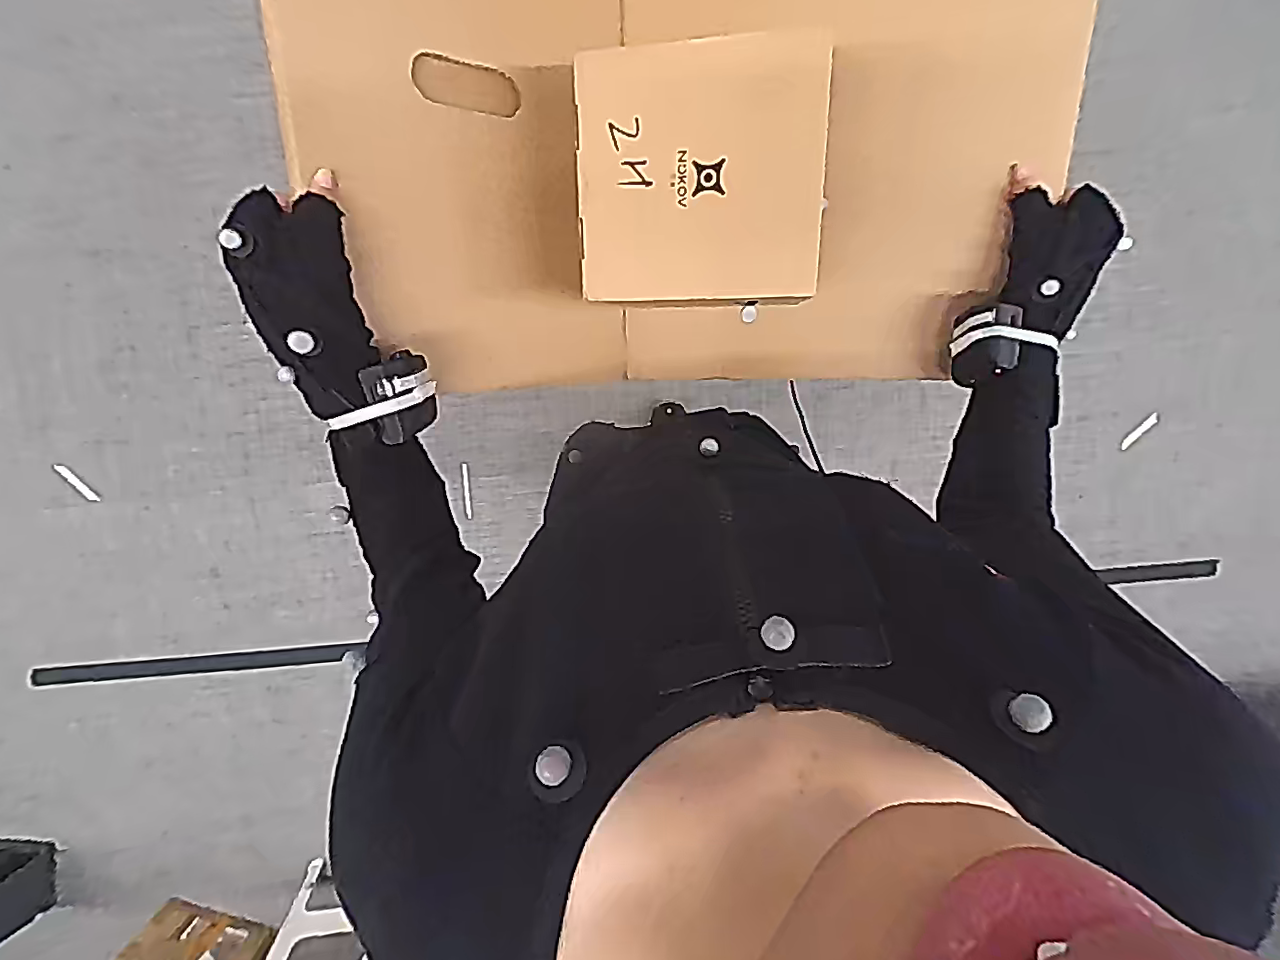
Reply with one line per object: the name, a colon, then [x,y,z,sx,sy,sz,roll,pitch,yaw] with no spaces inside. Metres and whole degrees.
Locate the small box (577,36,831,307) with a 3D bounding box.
small box: [0.054,-0.240,0.466,0.179,0.176,0.168,2,106,10]
